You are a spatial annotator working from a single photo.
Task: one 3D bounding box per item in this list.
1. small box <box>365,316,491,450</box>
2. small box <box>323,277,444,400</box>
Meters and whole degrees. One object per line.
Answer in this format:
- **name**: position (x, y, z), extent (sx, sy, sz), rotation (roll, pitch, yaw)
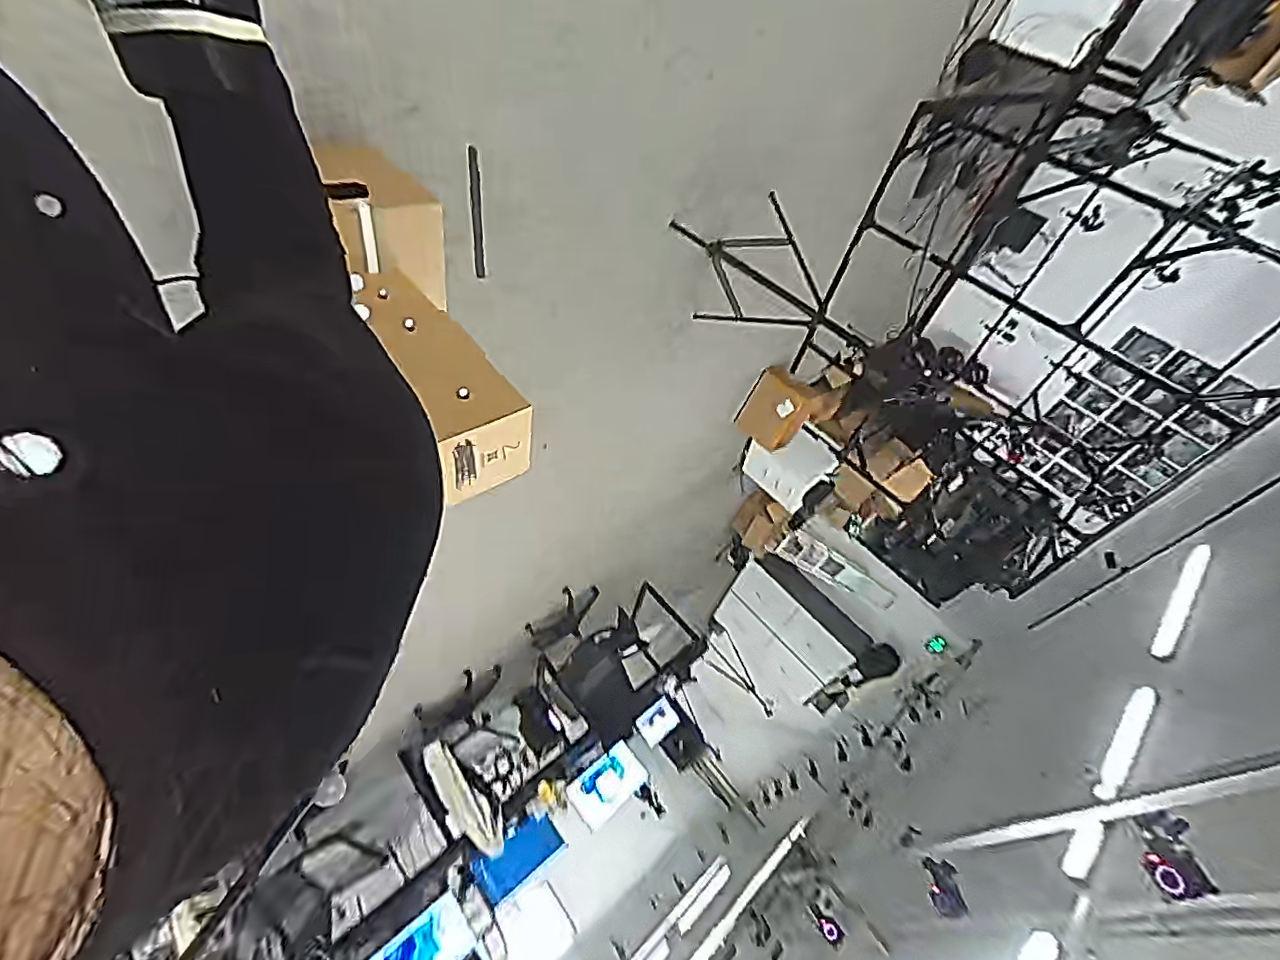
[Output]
- **small box**: position (-0.406, -0.191, 1.039), extent (0.179, 0.176, 0.168), rotation (-26, 150, -34)
- **small box**: position (-0.520, -0.293, 1.100), extent (0.179, 0.176, 0.168), rotation (-26, 149, -37)
